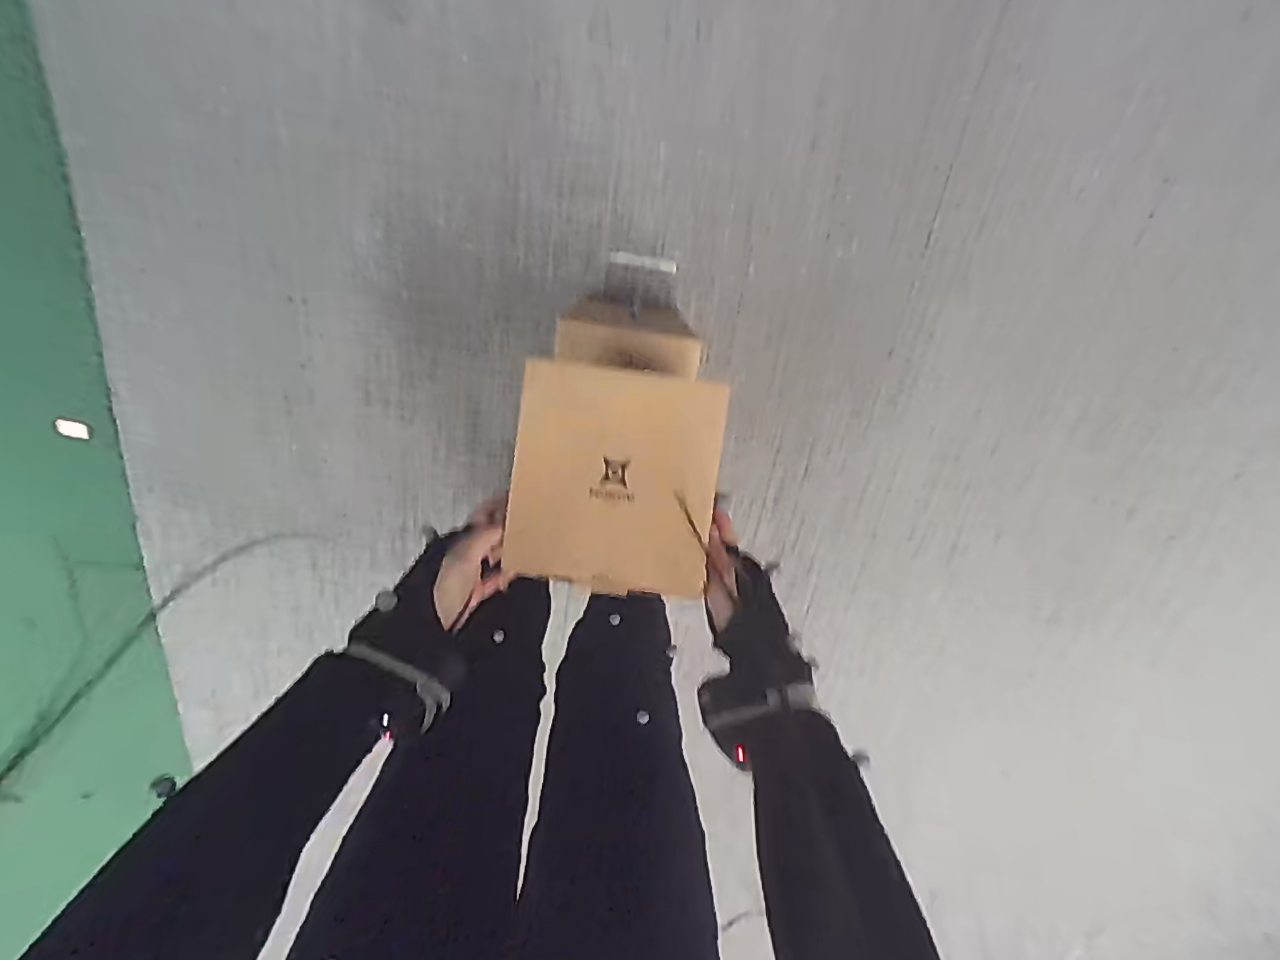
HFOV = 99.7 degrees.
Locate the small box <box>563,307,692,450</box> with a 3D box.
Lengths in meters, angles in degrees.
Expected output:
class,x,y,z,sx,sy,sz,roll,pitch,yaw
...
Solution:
class,x,y,z,sx,sy,sz,roll,pitch,yaw
small box,-0.023,-0.167,0.852,0.168,0.176,0.179,9,113,-4
